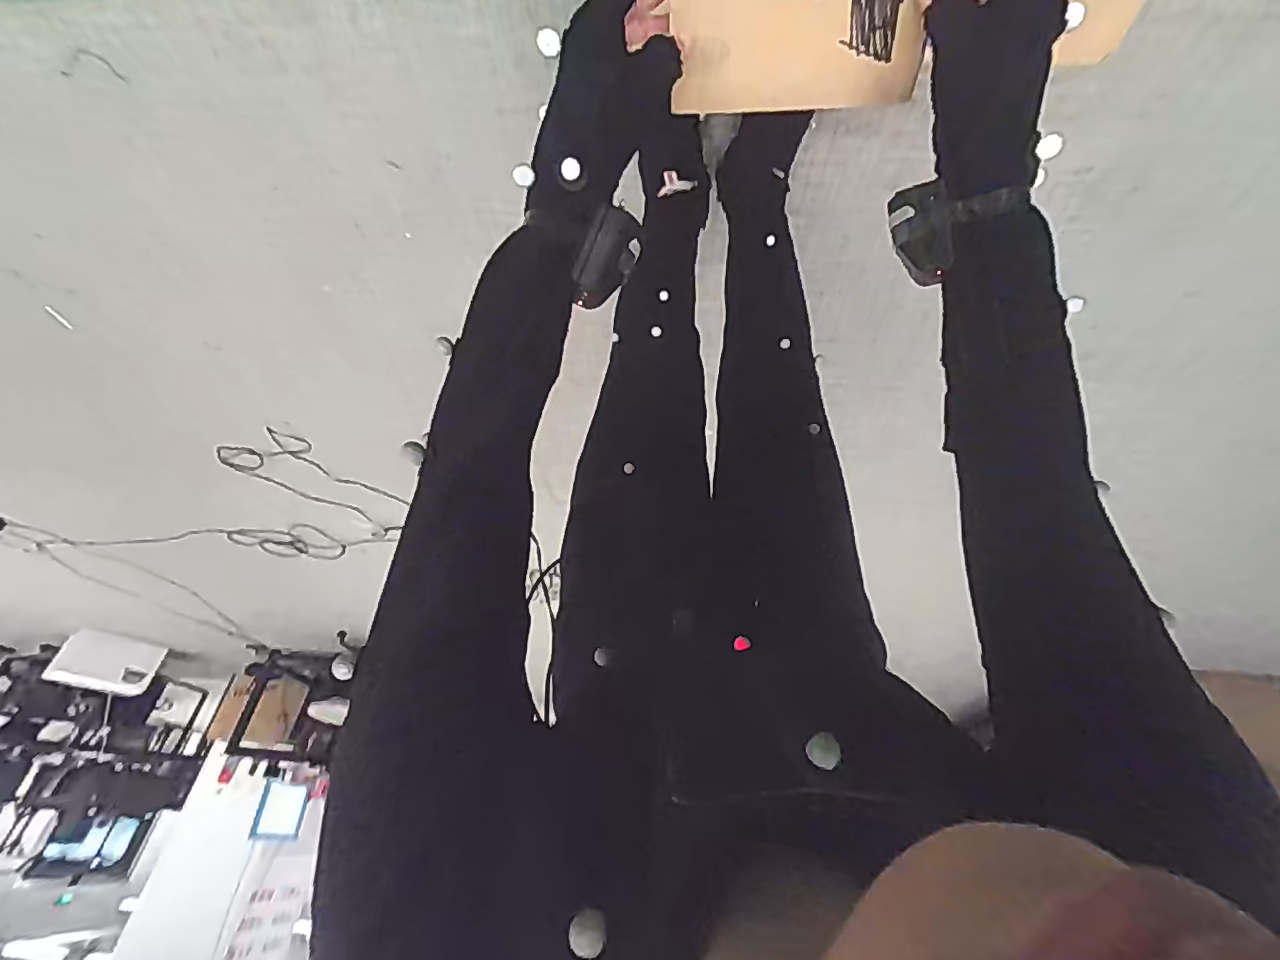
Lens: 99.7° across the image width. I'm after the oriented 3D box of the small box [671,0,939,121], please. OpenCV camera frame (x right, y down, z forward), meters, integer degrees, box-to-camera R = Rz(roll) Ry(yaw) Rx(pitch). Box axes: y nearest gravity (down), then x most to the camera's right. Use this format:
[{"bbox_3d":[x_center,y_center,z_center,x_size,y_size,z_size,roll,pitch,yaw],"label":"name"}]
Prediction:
[{"bbox_3d":[0.114,-0.387,0.386,0.179,0.176,0.168,3,147,7],"label":"small box"}]
